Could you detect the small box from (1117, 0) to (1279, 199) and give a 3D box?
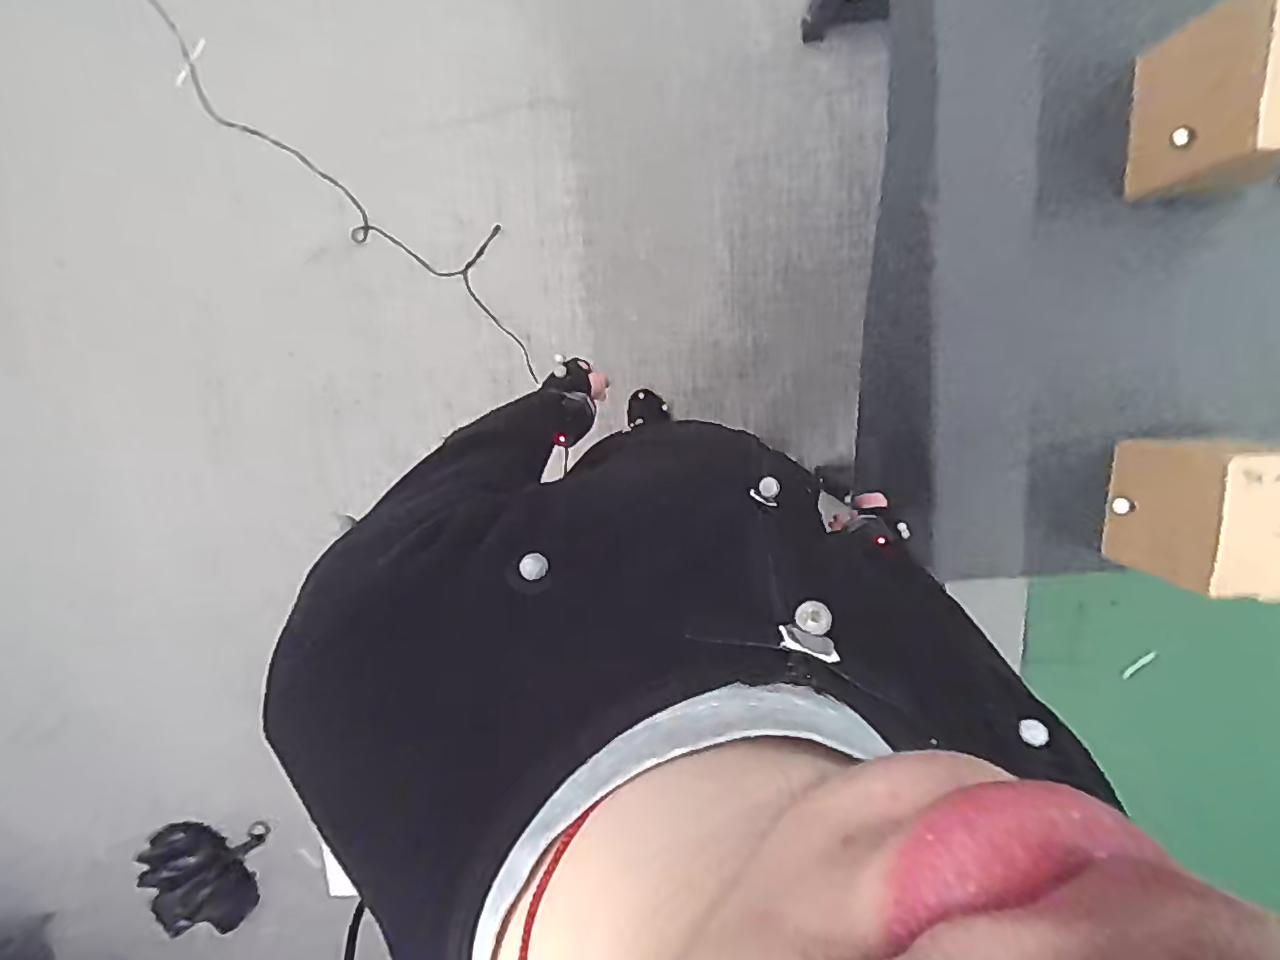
[{"bbox_3d":[0.724,-0.453,0.646,0.168,0.176,0.179,-5,99,-1],"label":"small box"}]

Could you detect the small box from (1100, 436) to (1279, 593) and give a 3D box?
[{"bbox_3d":[0.773,0.037,0.728,0.168,0.176,0.179,-2,100,0],"label":"small box"}]
